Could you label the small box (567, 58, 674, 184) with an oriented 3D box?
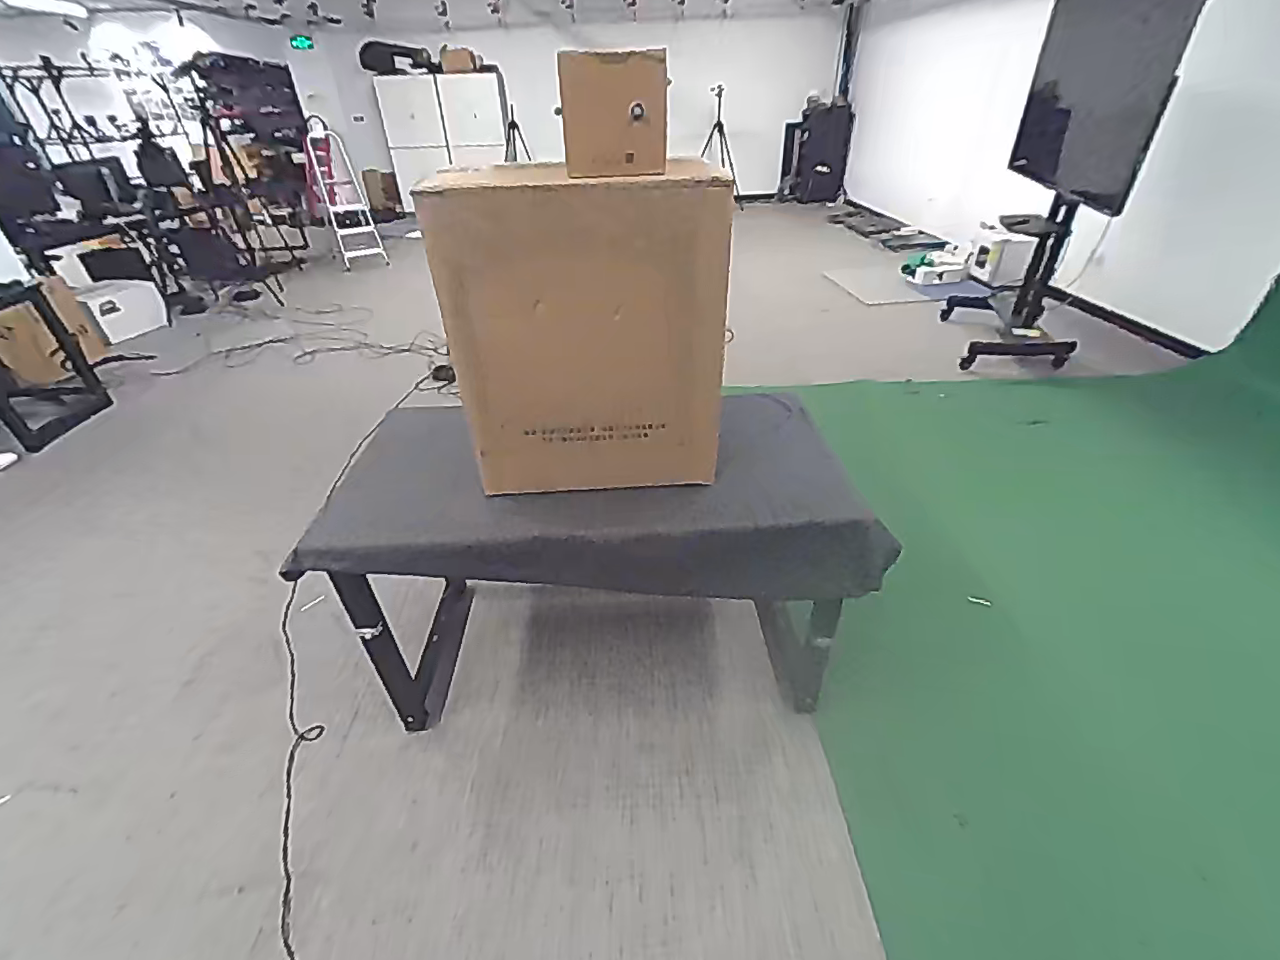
[{"bbox_3d":[-0.030,-0.608,0.920,0.168,0.176,0.179,-1,36,-2],"label":"small box"}]
